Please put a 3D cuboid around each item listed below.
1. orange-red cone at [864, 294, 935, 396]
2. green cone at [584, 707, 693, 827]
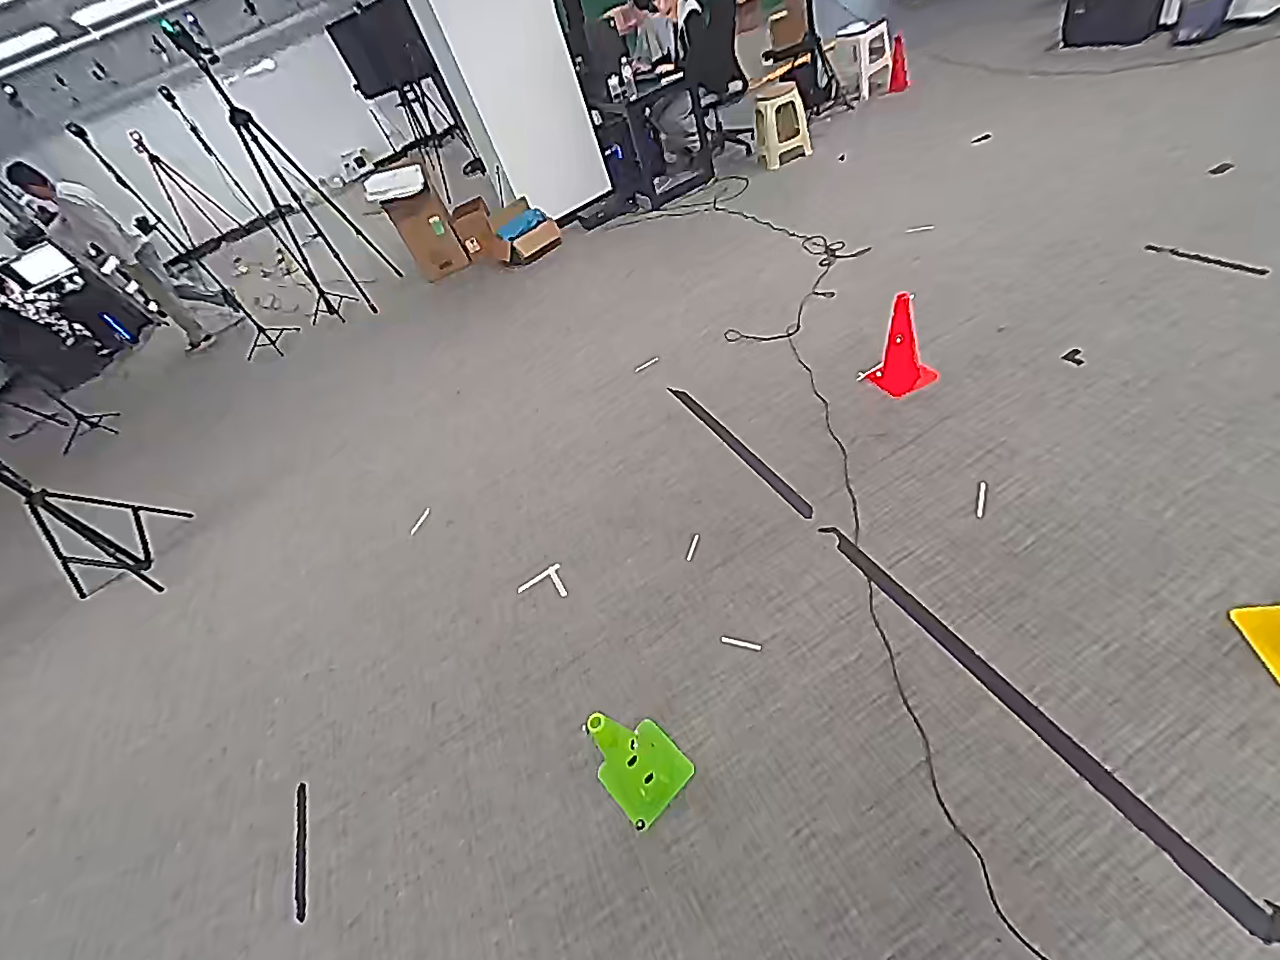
[{"bbox_3d":[0.962,-0.523,2.002,0.198,0.360,0.199,-26,43,-1],"label":"orange-red cone"},{"bbox_3d":[-0.042,0.637,1.295,0.200,0.368,0.202,-42,44,-19],"label":"green cone"}]
